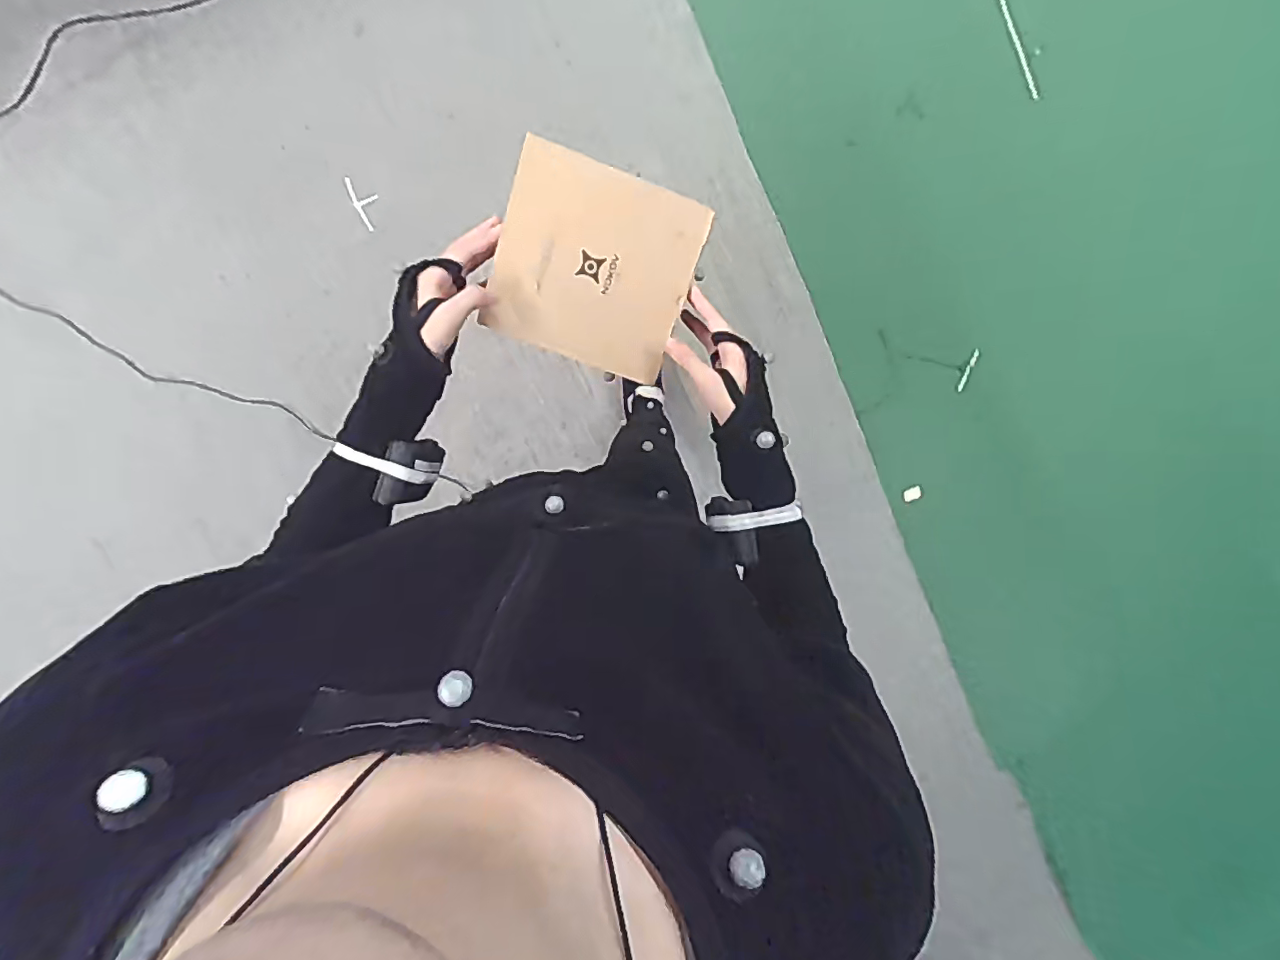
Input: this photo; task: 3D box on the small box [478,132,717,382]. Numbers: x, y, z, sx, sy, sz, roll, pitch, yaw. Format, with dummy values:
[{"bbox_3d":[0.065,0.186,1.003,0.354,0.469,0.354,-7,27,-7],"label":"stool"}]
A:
[{"bbox_3d":[-0.042,-0.215,0.559,0.179,0.176,0.168,19,104,-6],"label":"small box"}]
